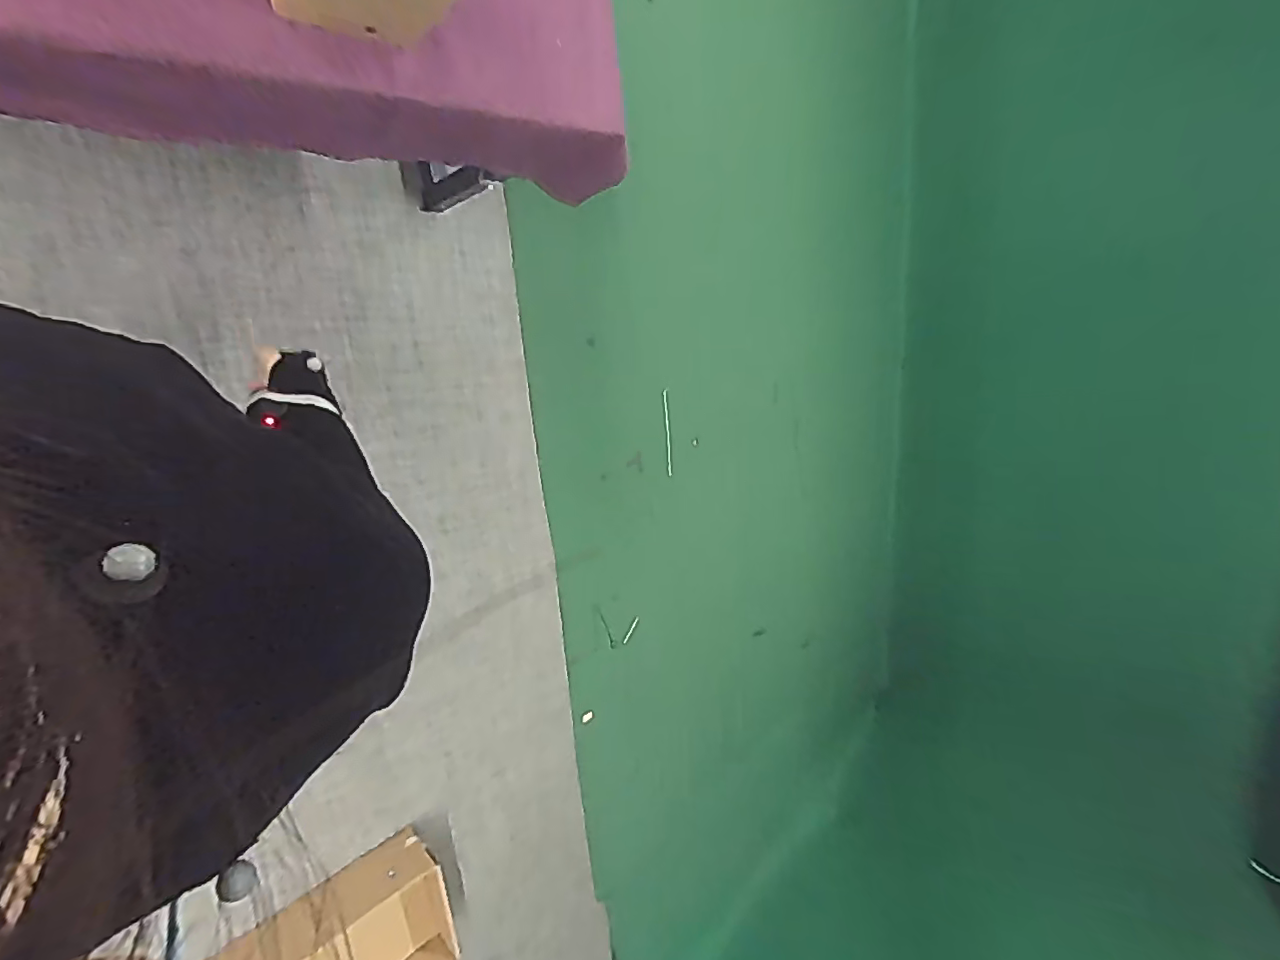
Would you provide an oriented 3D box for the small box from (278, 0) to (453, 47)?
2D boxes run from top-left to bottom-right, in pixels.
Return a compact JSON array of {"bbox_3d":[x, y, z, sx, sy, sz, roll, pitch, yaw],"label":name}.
[{"bbox_3d":[-0.323,-0.638,0.603,0.168,0.176,0.179,-22,111,-39],"label":"small box"}]
